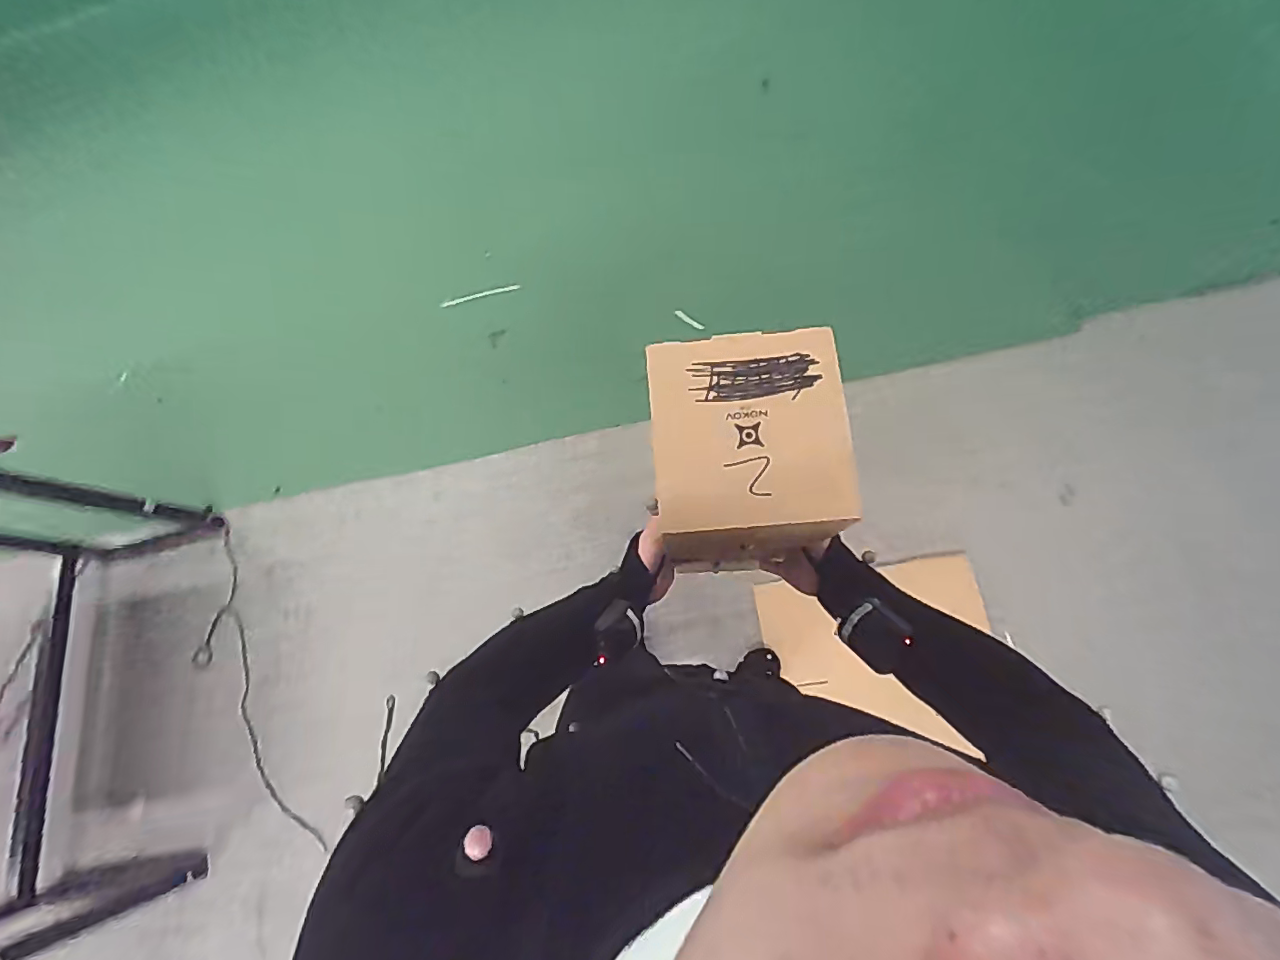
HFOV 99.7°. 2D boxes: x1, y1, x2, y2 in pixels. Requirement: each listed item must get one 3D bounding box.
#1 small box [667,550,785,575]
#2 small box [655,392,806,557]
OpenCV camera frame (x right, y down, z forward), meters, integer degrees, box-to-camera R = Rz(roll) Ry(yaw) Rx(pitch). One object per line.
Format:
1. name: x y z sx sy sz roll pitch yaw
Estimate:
1. small box: 0.124 0.050 0.849 0.168 0.176 0.179 -3 74 5
2. small box: 0.107 0.005 0.690 0.168 0.176 0.179 -2 74 4
